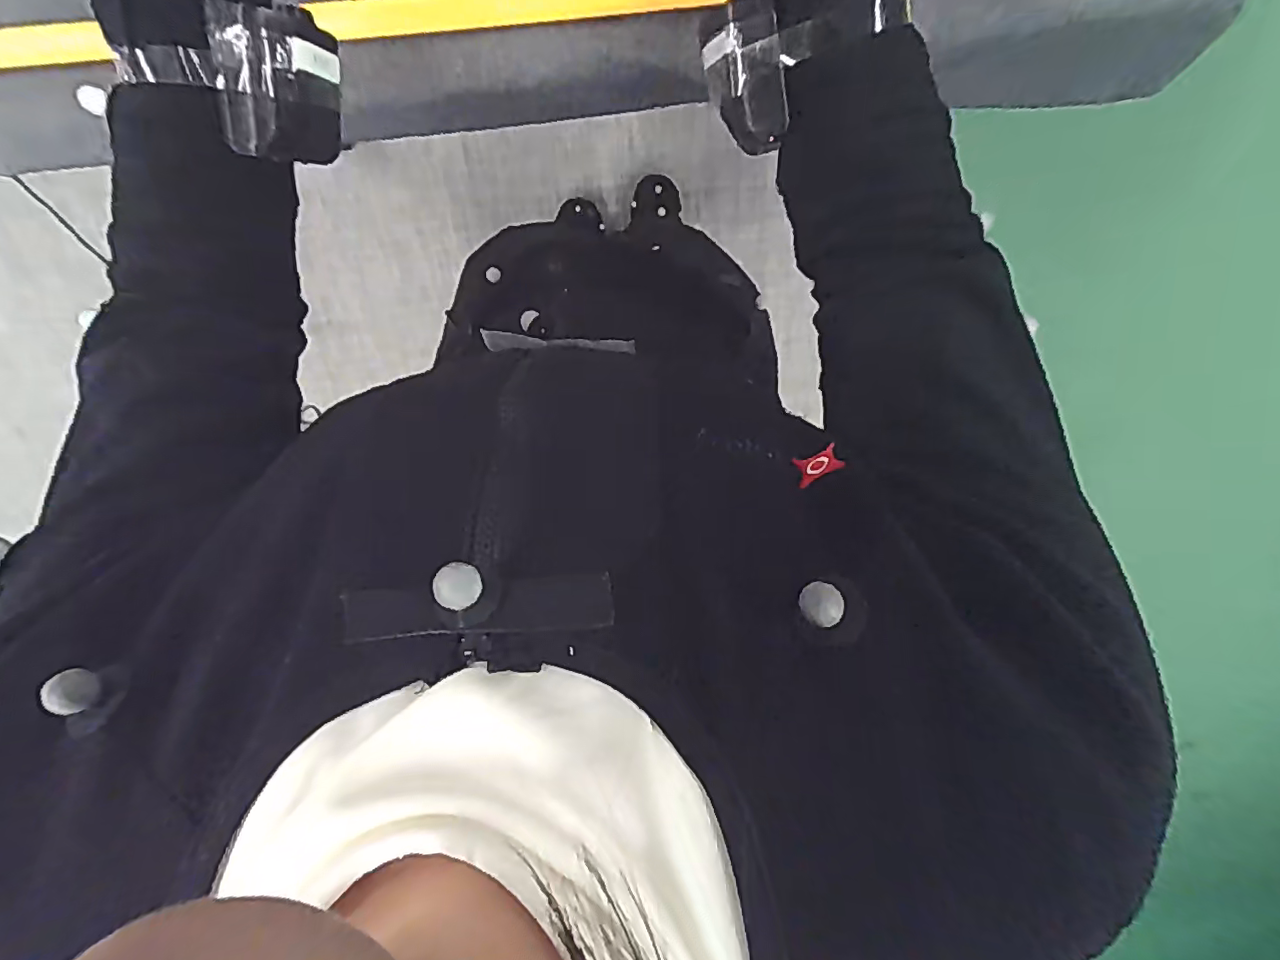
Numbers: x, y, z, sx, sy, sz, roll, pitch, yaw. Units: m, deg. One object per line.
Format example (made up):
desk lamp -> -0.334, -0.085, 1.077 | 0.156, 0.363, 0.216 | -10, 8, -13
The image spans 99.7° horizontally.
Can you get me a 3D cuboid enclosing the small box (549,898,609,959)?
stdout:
small box -> -0.202, 1.569, 1.844 | 0.168, 0.176, 0.179 | -13, 120, 2
